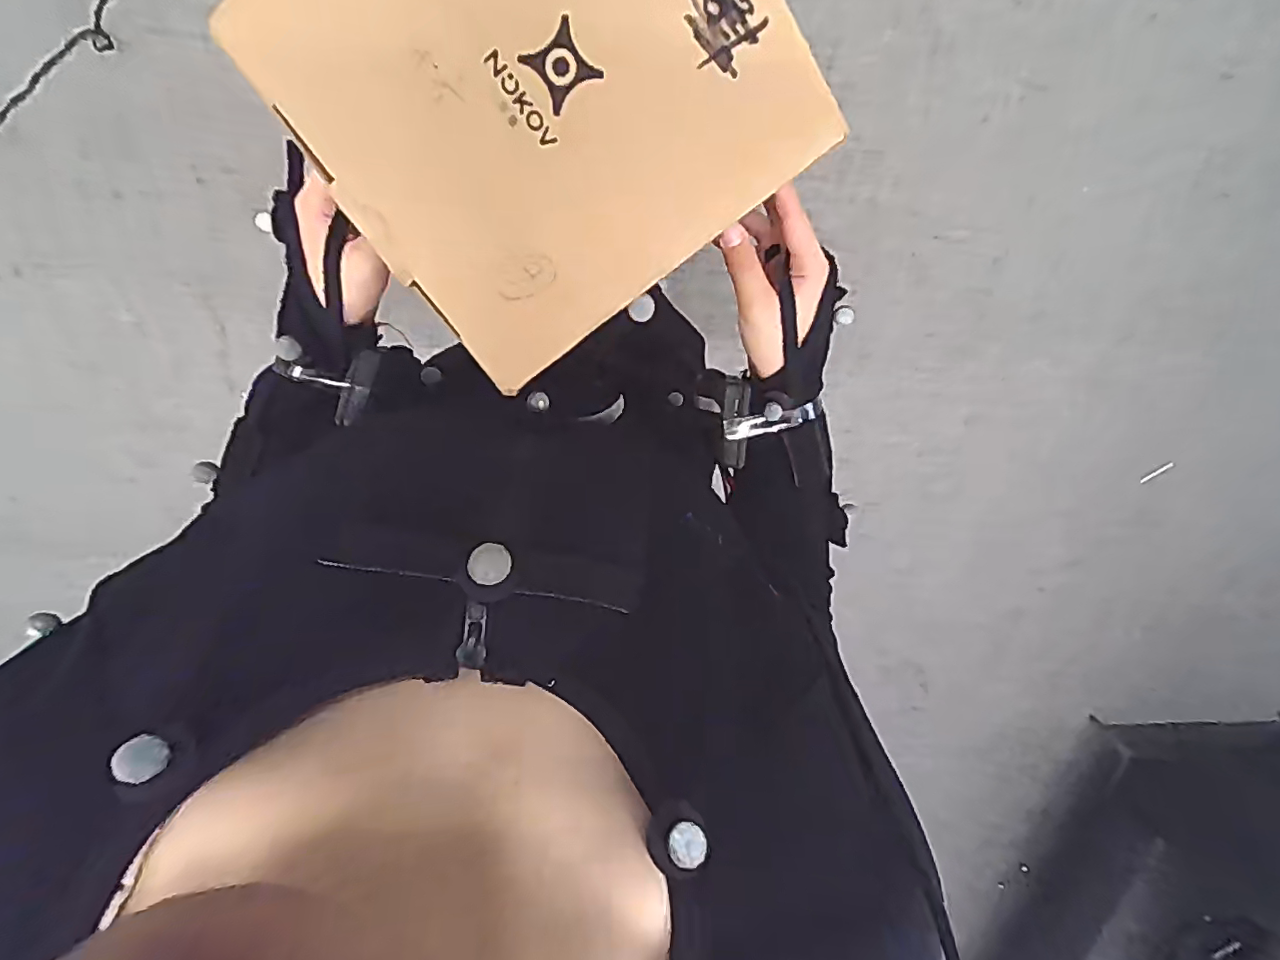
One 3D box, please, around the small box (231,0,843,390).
[{"bbox_3d":[-0.036,-0.172,0.278,0.179,0.176,0.168,-34,107,10],"label":"small box"}]
